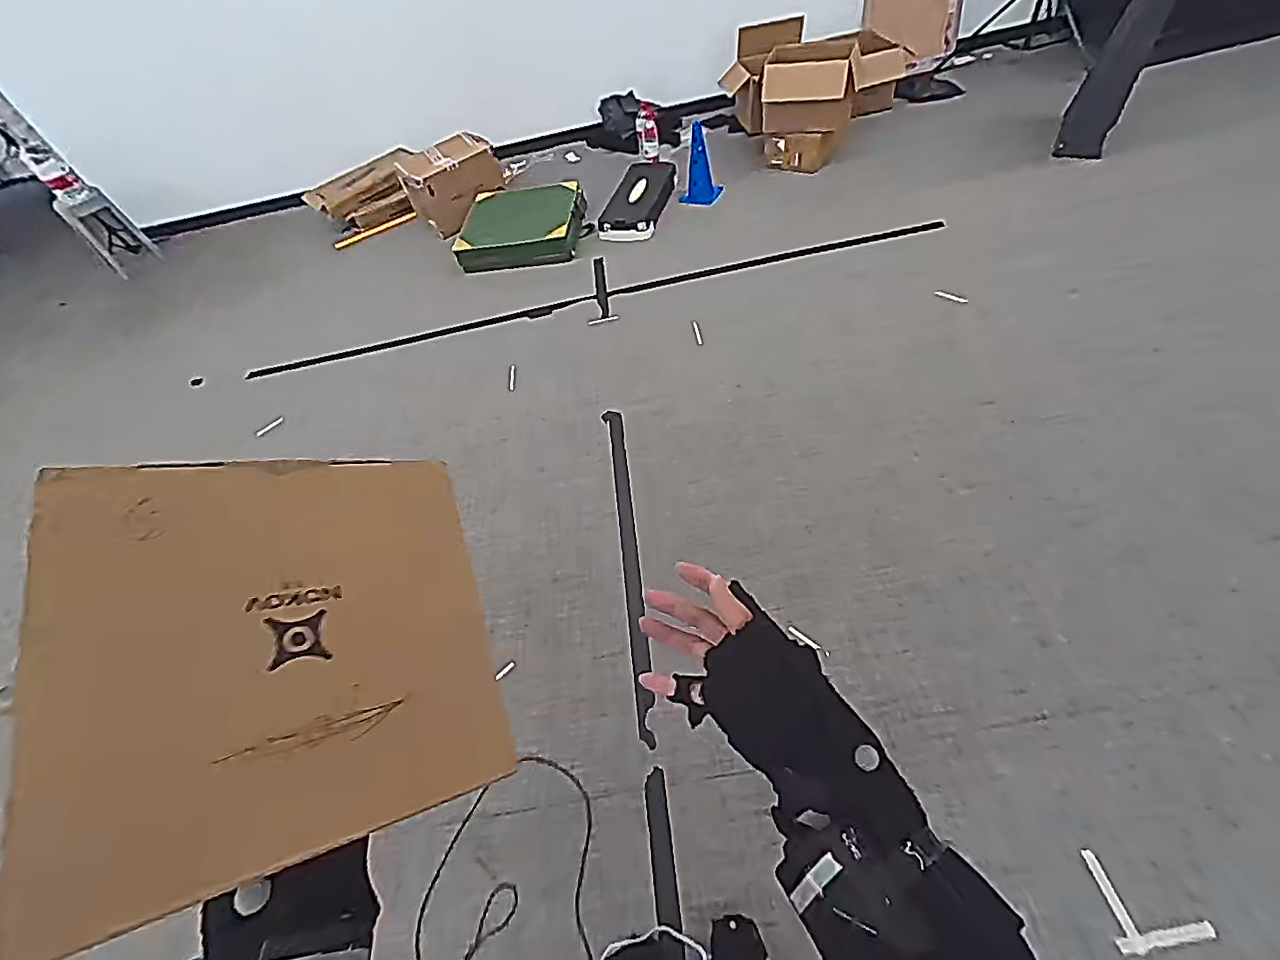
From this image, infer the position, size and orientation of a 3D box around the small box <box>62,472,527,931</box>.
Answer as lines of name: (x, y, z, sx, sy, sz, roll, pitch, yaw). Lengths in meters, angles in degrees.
small box: (-0.190, 0.111, 0.307, 0.168, 0.176, 0.179, -1, 61, -39)
